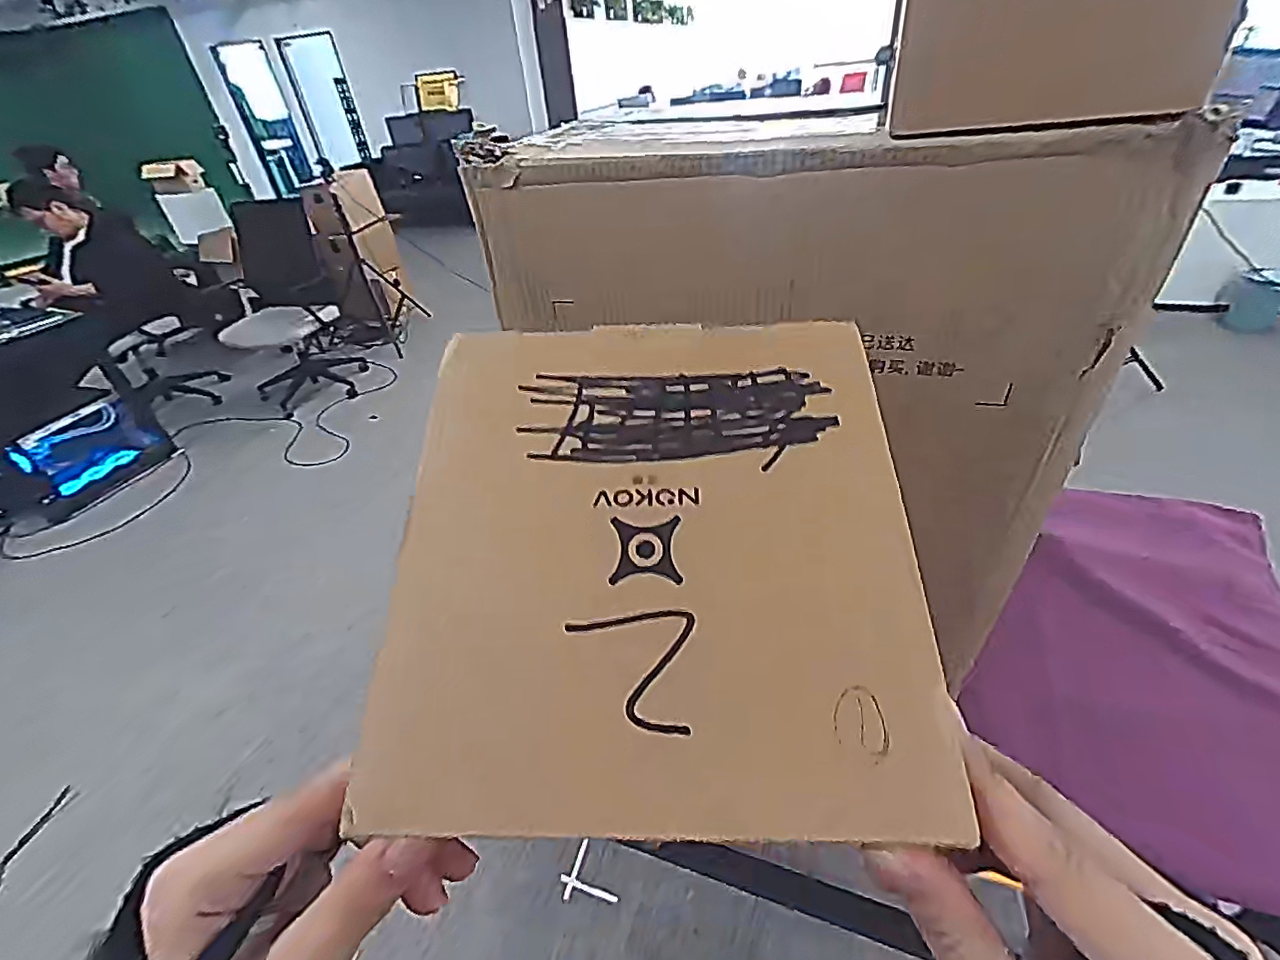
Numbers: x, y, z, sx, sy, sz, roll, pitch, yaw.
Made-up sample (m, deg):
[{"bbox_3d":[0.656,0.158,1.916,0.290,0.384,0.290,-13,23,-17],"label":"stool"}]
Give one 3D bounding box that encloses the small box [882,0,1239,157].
[{"bbox_3d":[0.259,-0.325,0.352,0.168,0.176,0.179,8,39,19],"label":"small box"}]
